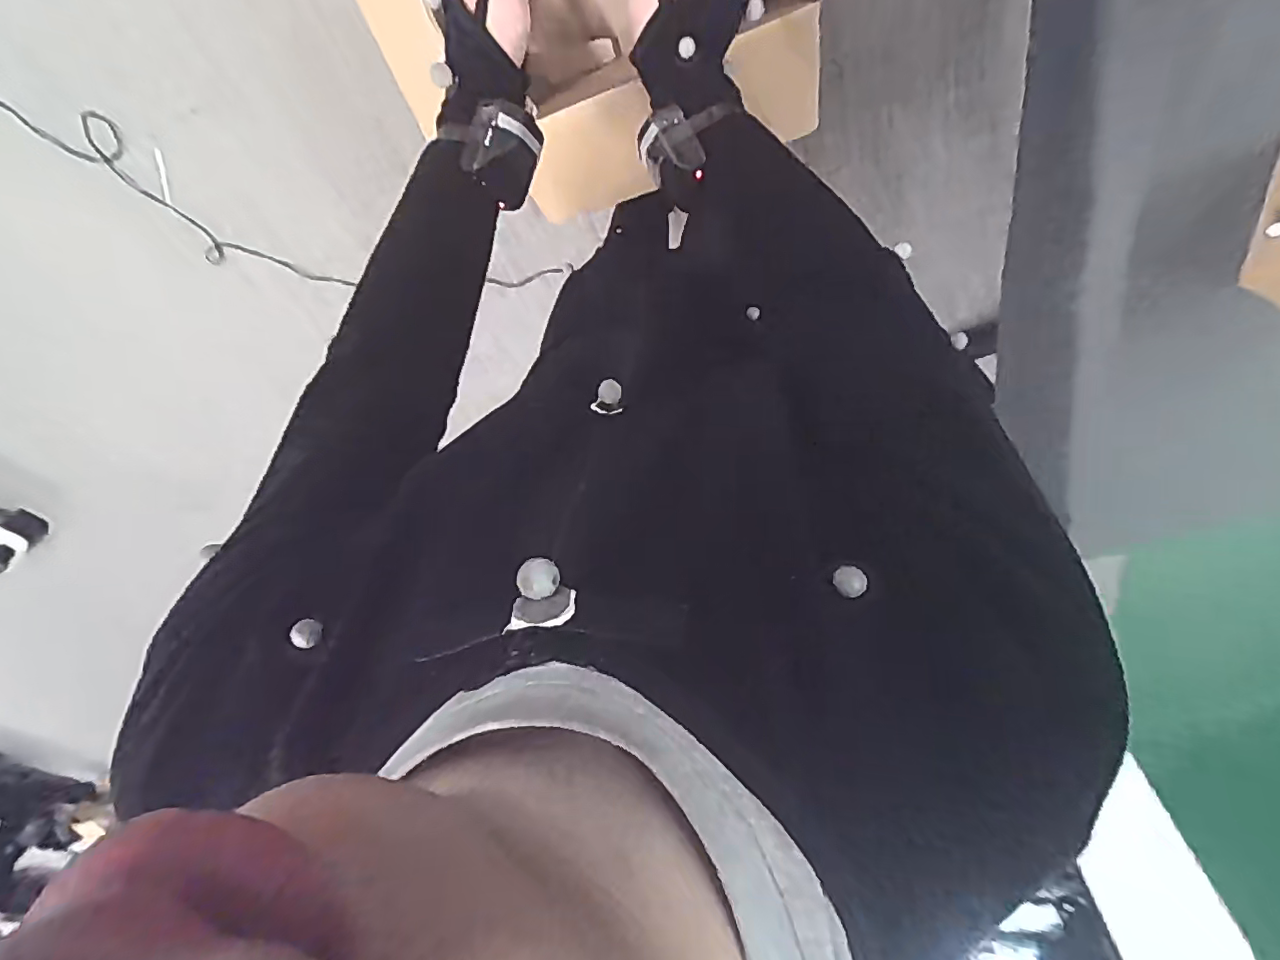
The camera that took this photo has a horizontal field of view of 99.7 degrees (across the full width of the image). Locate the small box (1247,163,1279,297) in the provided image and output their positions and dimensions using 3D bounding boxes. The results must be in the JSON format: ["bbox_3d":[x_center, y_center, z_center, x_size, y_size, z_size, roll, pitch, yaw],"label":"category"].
[{"bbox_3d":[0.756,-0.261,0.514,0.168,0.176,0.179,-17,130,16],"label":"small box"}]

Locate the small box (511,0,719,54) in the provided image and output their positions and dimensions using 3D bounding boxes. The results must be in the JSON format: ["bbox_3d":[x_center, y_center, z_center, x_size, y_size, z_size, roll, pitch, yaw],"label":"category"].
[{"bbox_3d":[-0.031,-0.498,0.452,0.179,0.176,0.168,-7,147,6],"label":"small box"}]
